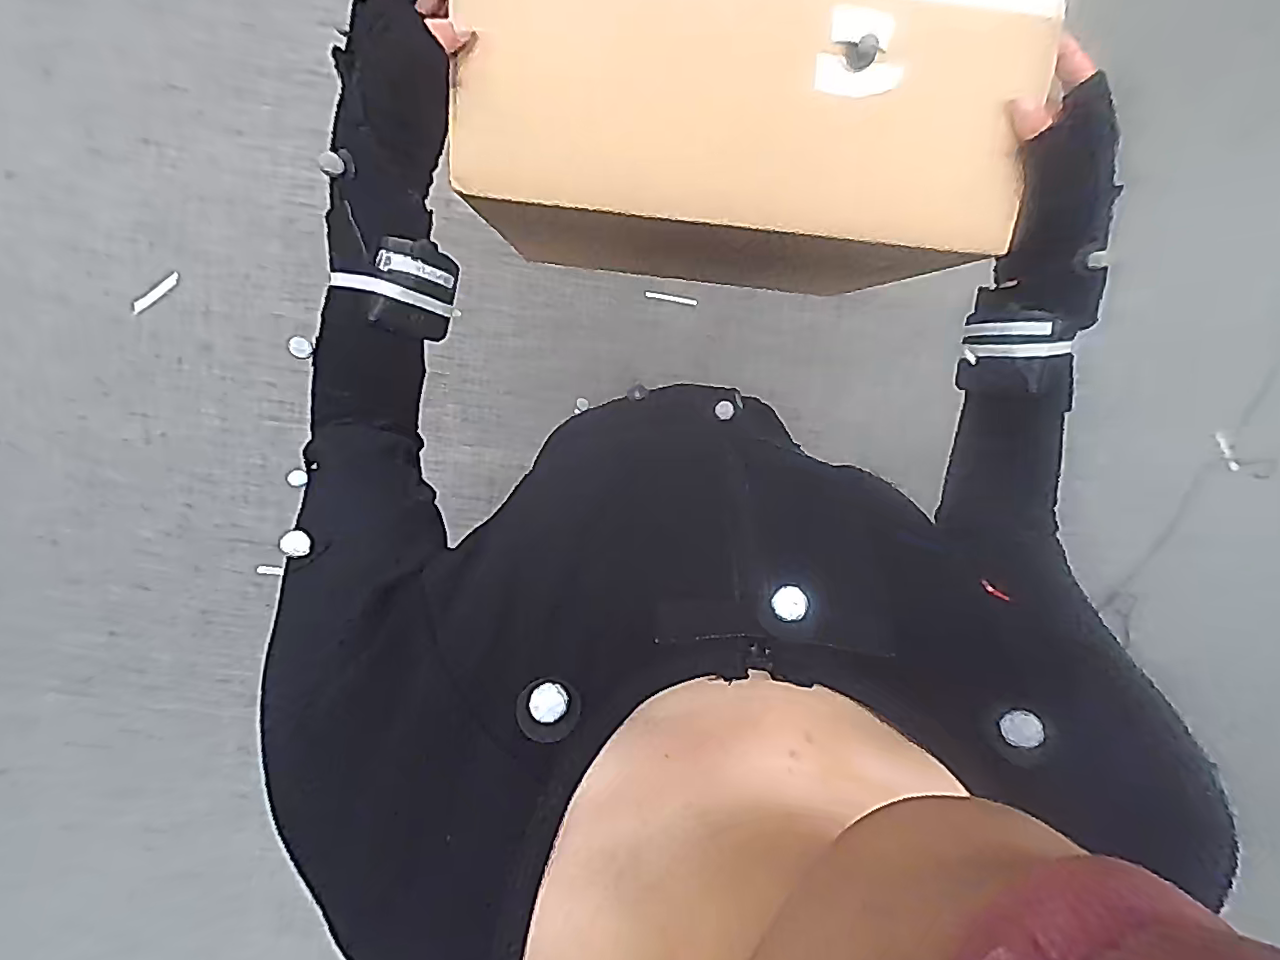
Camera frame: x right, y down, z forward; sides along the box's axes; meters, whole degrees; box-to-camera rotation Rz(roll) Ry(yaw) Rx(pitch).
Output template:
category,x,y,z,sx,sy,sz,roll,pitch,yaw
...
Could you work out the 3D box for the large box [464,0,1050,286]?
category,x,y,z,sx,sy,sz,roll,pitch,yaw
large box,0.074,-0.373,0.502,0.408,0.320,0.320,4,104,-5
